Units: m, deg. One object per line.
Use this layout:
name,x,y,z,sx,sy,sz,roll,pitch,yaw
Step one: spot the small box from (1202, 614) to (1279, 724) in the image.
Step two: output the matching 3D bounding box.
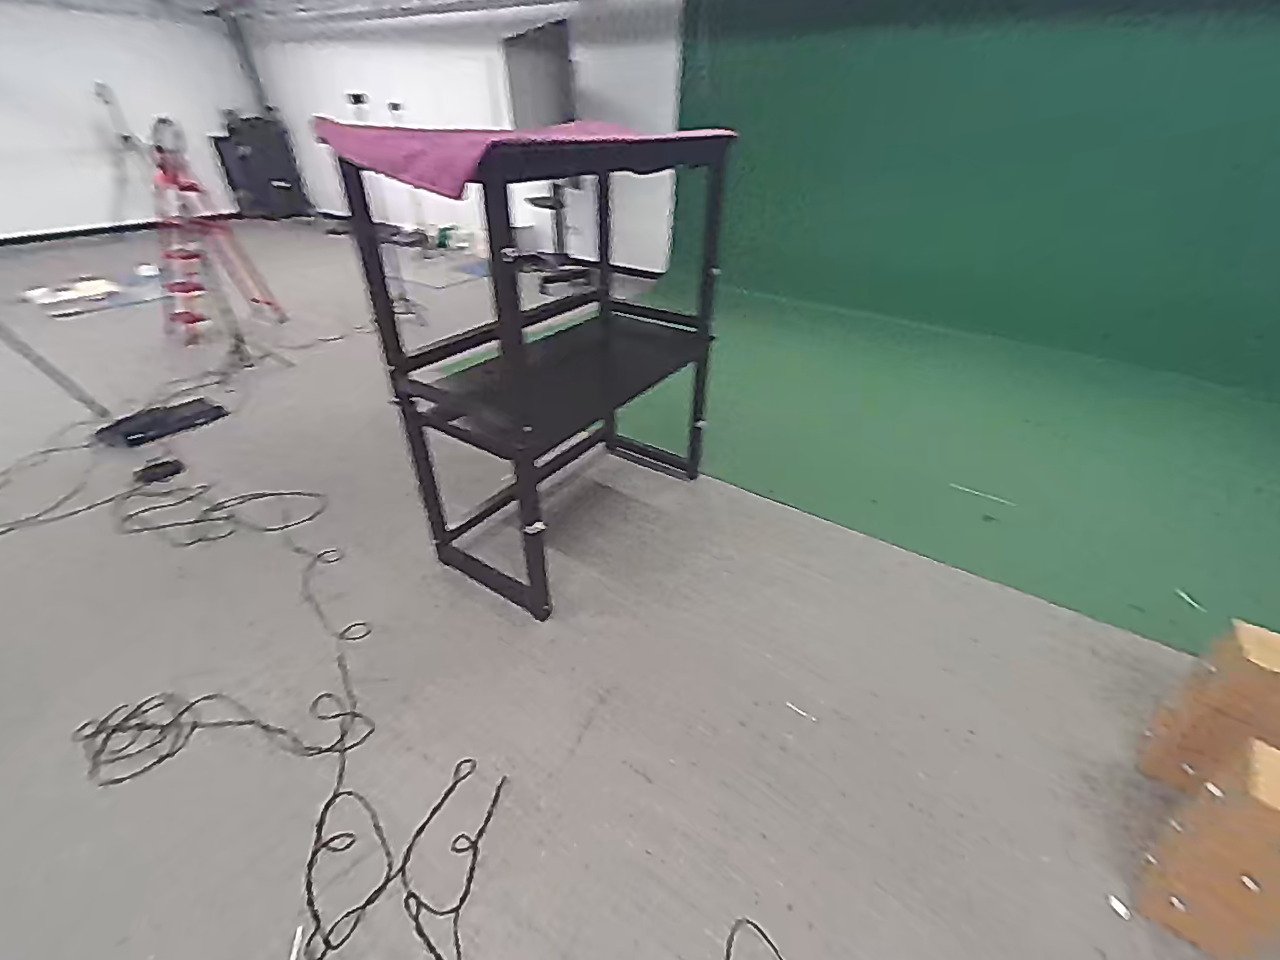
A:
small box,1.545,0.470,1.321,0.179,0.176,0.168,22,38,28

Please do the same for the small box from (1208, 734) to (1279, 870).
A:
small box,1.278,0.650,1.056,0.179,0.176,0.168,27,42,36

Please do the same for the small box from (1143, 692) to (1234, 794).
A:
small box,1.549,0.741,1.507,0.179,0.176,0.168,24,41,31
